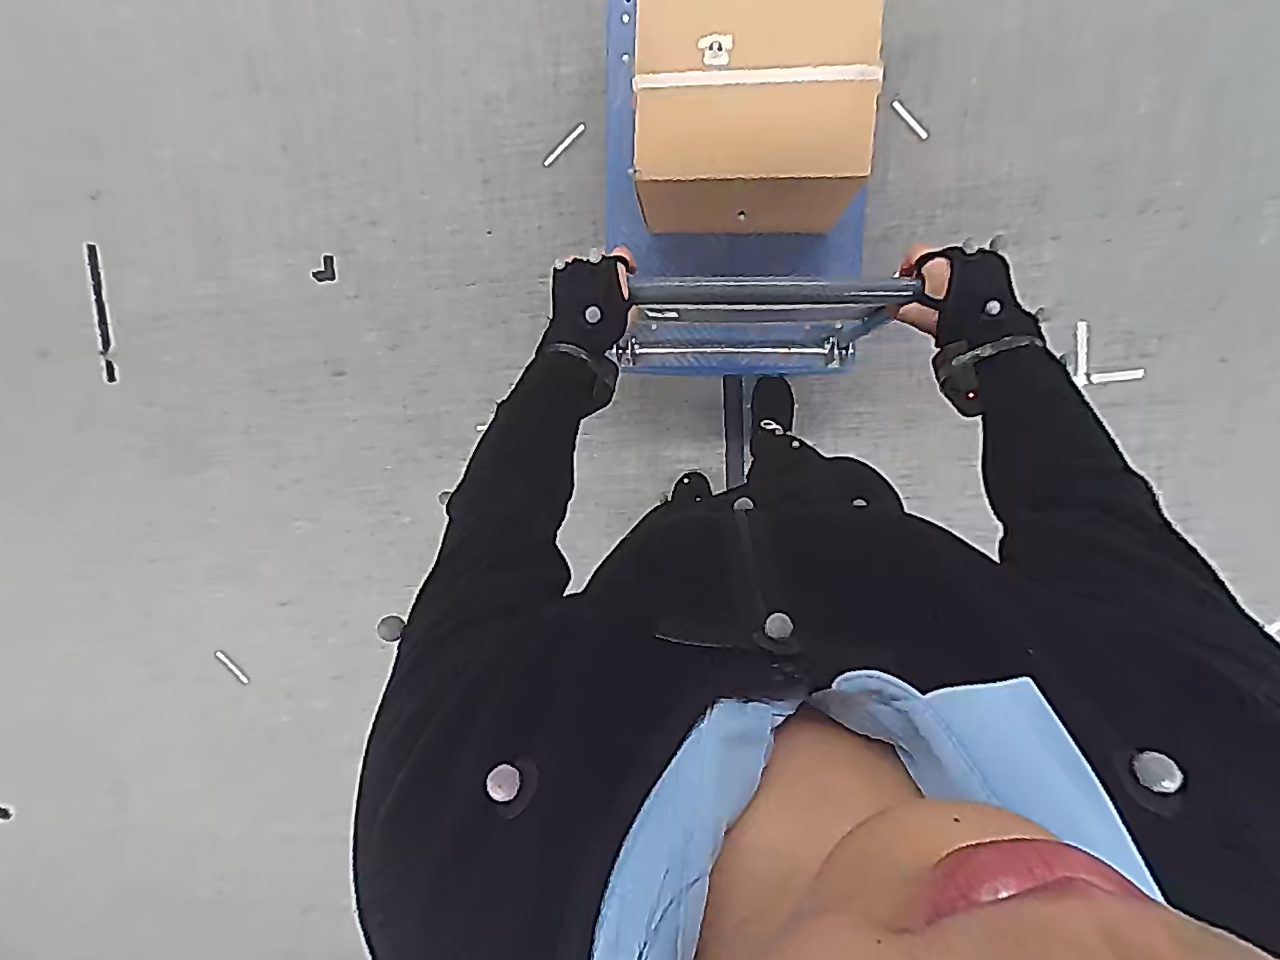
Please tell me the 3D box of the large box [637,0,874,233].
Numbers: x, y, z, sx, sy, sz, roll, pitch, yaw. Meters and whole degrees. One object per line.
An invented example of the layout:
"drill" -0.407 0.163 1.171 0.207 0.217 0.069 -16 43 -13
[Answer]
"large box" 0.211 -0.702 1.079 0.408 0.320 0.320 2 97 7
